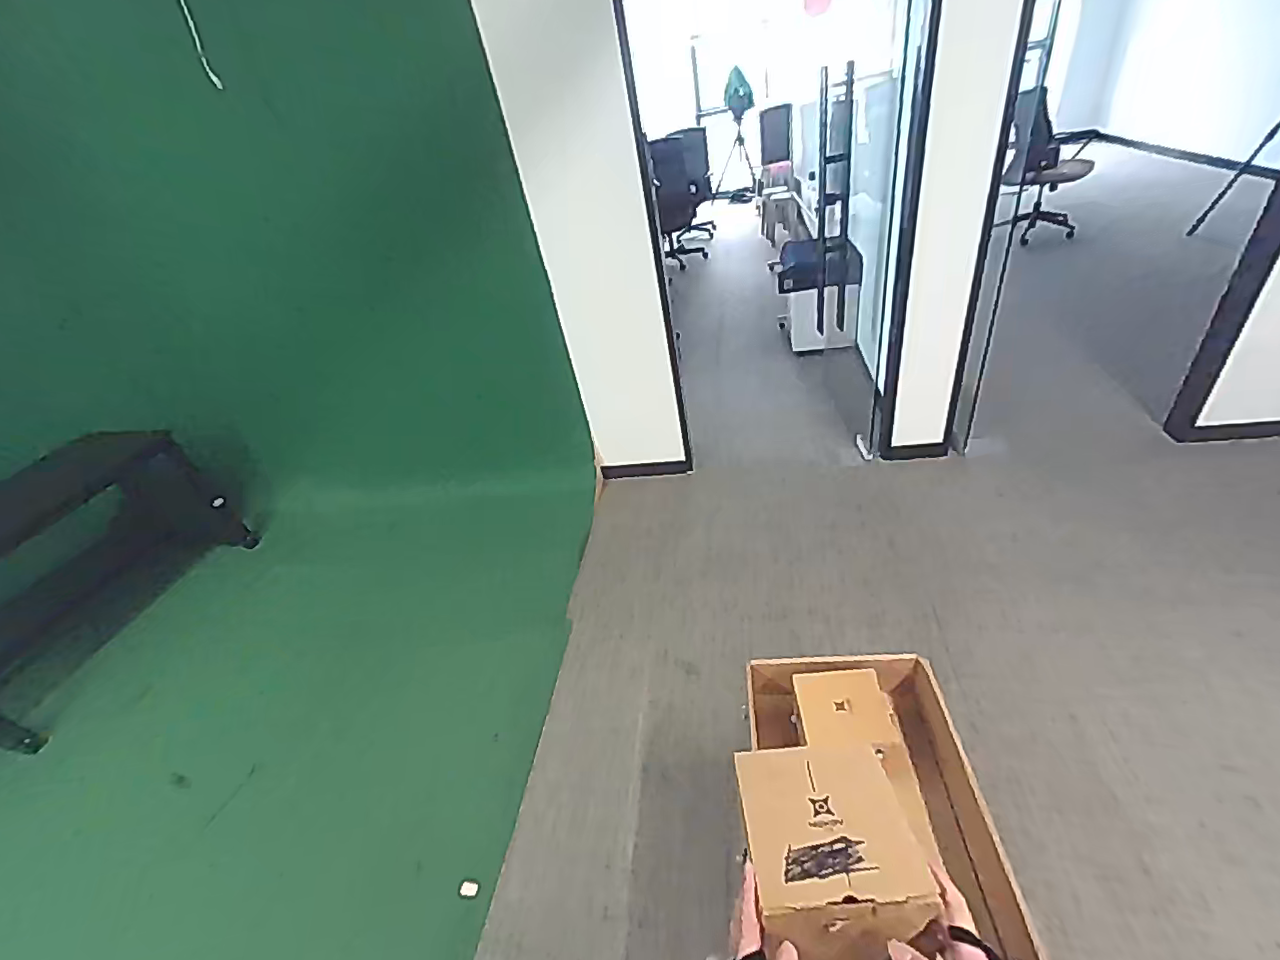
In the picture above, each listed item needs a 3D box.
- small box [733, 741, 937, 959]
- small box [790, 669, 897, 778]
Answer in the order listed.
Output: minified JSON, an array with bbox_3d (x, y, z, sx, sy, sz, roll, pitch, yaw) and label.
[{"bbox_3d":[0.202,0.426,0.595,0.168,0.176,0.179,-7,21,4],"label":"small box"},{"bbox_3d":[0.424,0.527,1.149,0.179,0.176,0.168,-7,35,7],"label":"small box"}]
